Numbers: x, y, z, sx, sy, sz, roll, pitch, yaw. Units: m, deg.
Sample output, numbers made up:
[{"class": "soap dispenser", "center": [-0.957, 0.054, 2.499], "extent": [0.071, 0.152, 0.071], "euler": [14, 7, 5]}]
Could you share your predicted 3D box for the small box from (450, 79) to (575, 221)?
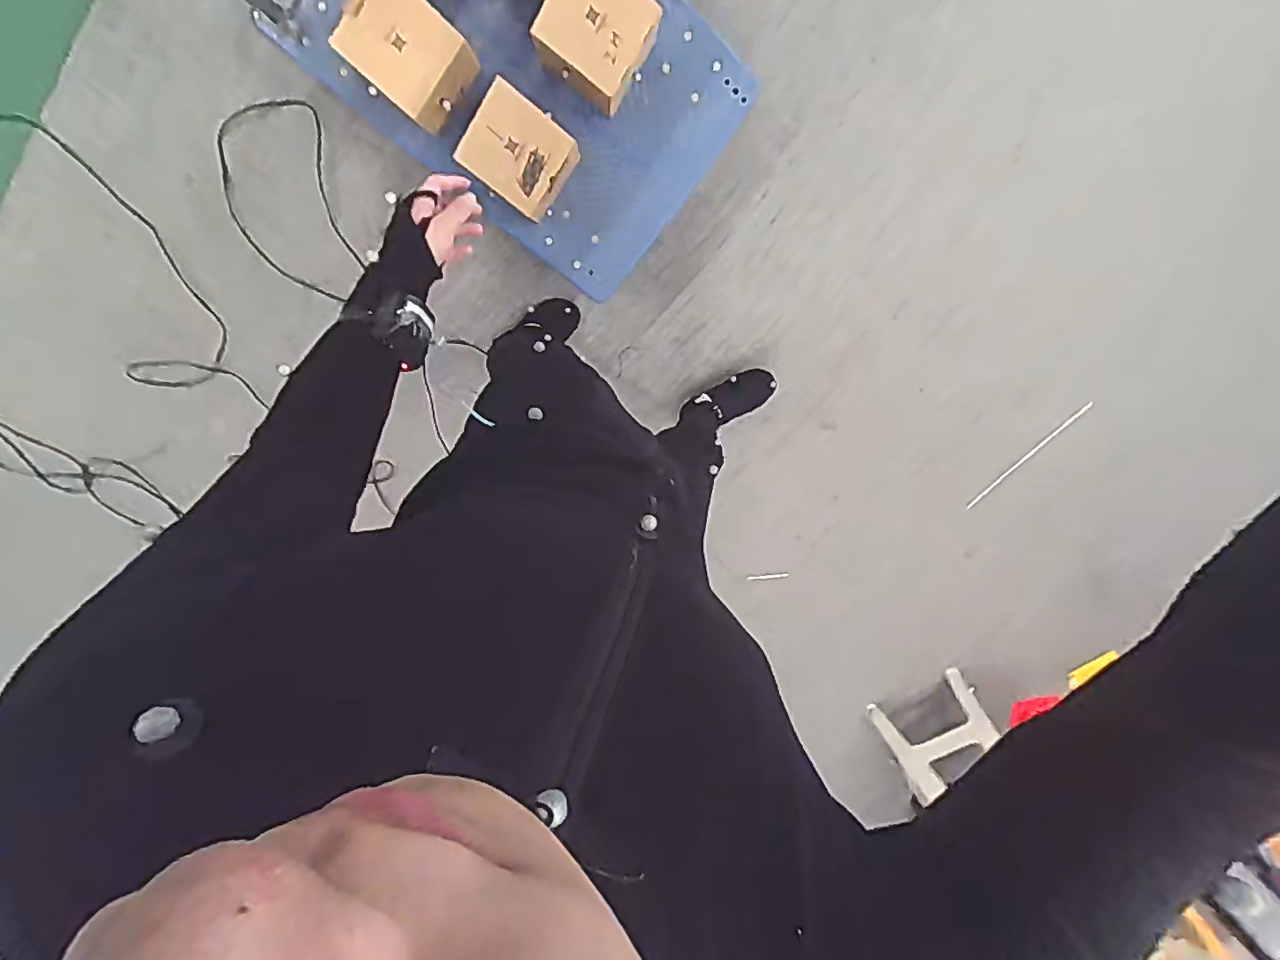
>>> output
[{"class": "small box", "center": [-0.244, -0.646, 1.085], "extent": [0.179, 0.176, 0.168], "euler": [34, 106, -16]}]

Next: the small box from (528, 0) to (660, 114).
[{"class": "small box", "center": [-0.086, -0.833, 1.018], "extent": [0.179, 0.176, 0.168], "euler": [32, 108, -16]}]

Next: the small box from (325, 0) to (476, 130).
[{"class": "small box", "center": [-0.433, -0.793, 1.011], "extent": [0.179, 0.176, 0.168], "euler": [38, 105, -17]}]
